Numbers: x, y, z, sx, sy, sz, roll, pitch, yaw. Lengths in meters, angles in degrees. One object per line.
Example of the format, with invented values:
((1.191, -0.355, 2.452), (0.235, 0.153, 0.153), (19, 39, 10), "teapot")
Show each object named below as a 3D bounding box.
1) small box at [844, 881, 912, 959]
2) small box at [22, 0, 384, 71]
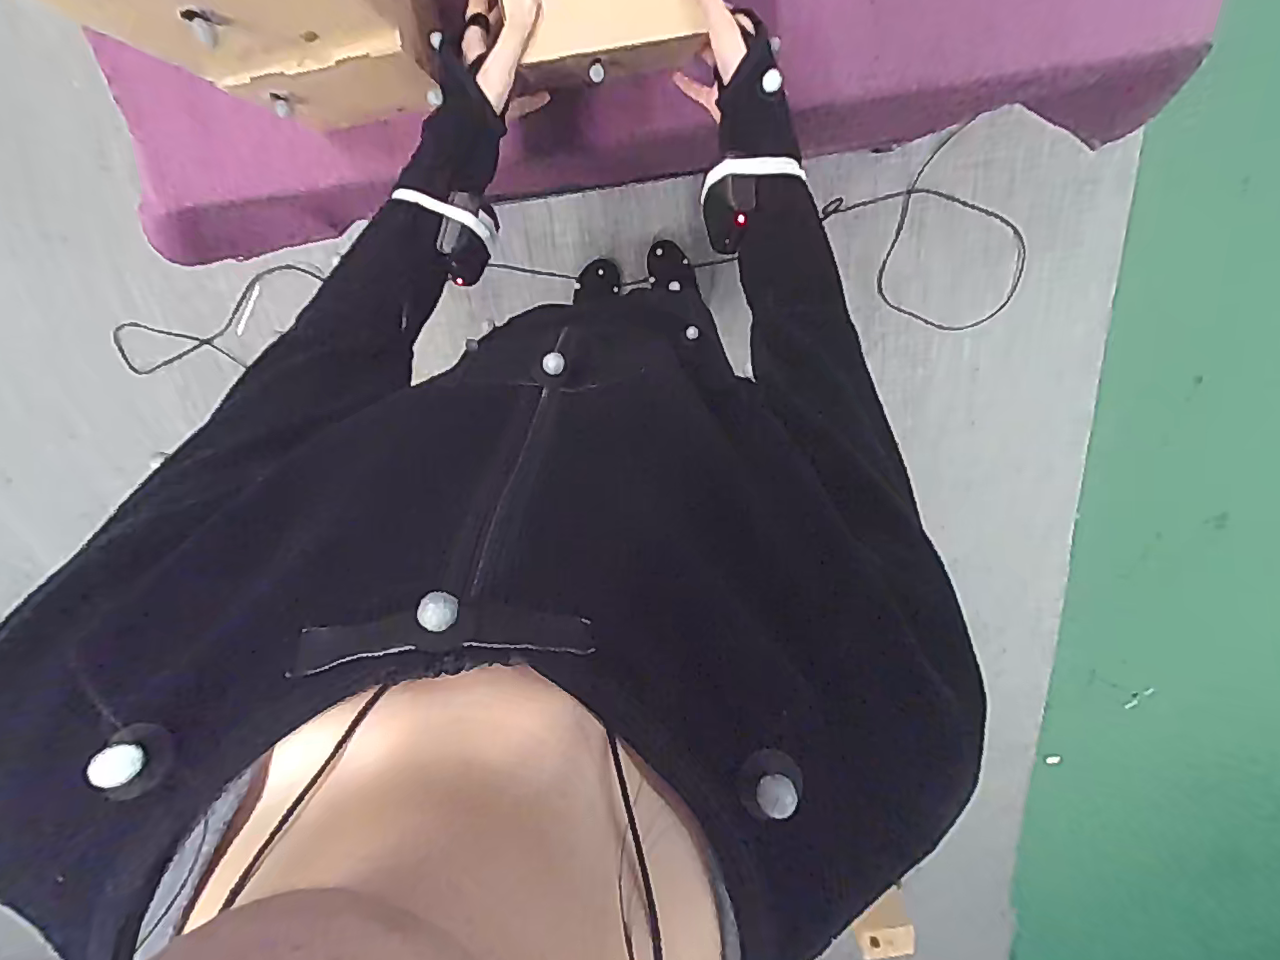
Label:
((0.826, 1.552, 1.894), (0.179, 0.176, 0.168), (-11, 111, 2), "small box")
((-0.296, -0.395, 0.342), (0.168, 0.176, 0.179), (-12, 110, 3), "small box")
